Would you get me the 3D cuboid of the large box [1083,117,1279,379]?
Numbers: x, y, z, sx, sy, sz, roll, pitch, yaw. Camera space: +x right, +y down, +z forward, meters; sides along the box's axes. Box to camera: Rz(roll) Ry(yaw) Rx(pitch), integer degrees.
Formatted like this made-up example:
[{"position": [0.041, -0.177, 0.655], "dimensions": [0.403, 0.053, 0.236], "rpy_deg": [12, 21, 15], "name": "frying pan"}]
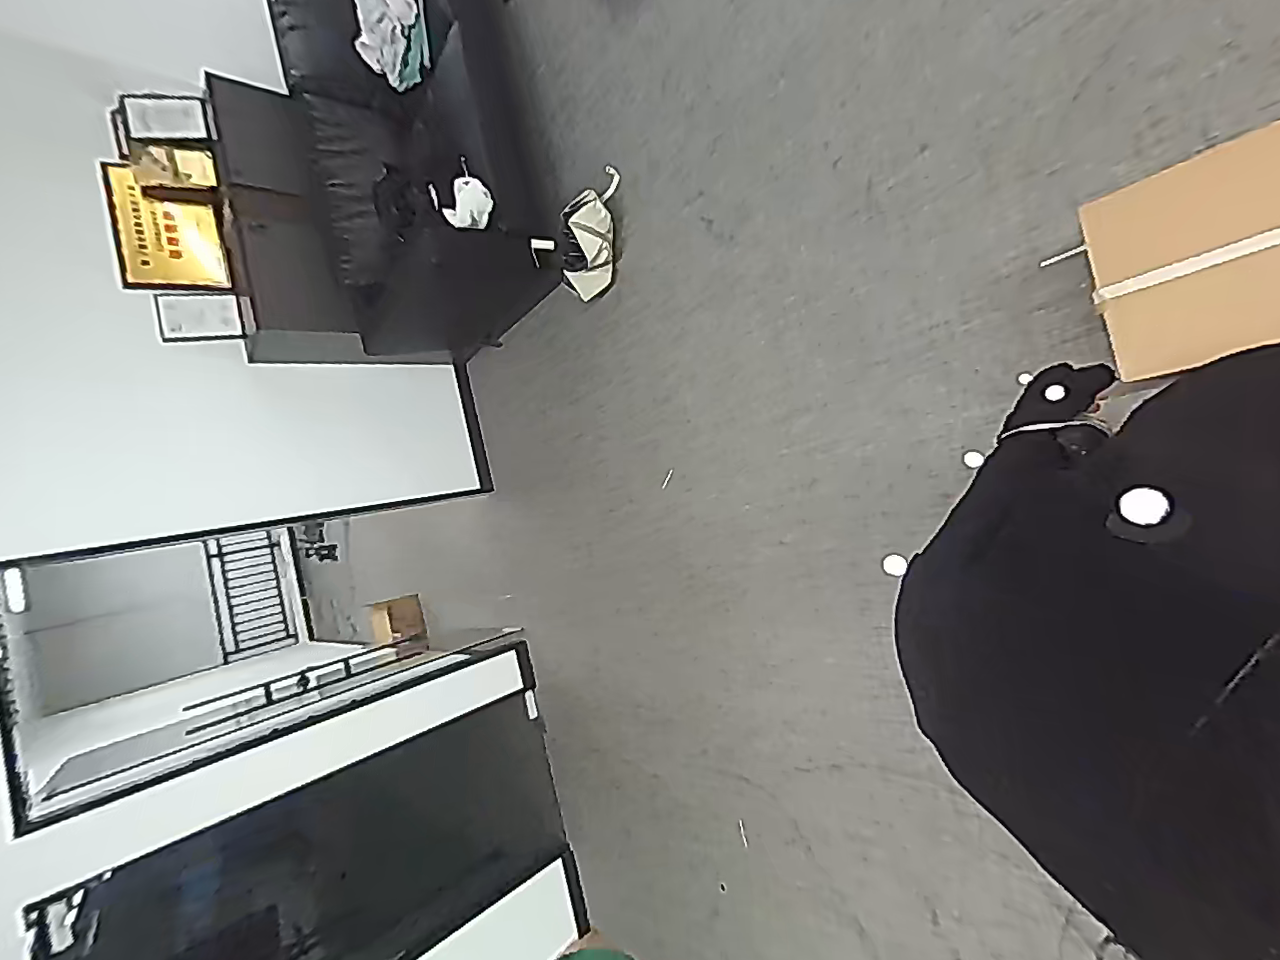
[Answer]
[{"position": [1.023, -0.372, 0.866], "dimensions": [0.408, 0.320, 0.320], "rpy_deg": [-15, 86, 49], "name": "large box"}]
